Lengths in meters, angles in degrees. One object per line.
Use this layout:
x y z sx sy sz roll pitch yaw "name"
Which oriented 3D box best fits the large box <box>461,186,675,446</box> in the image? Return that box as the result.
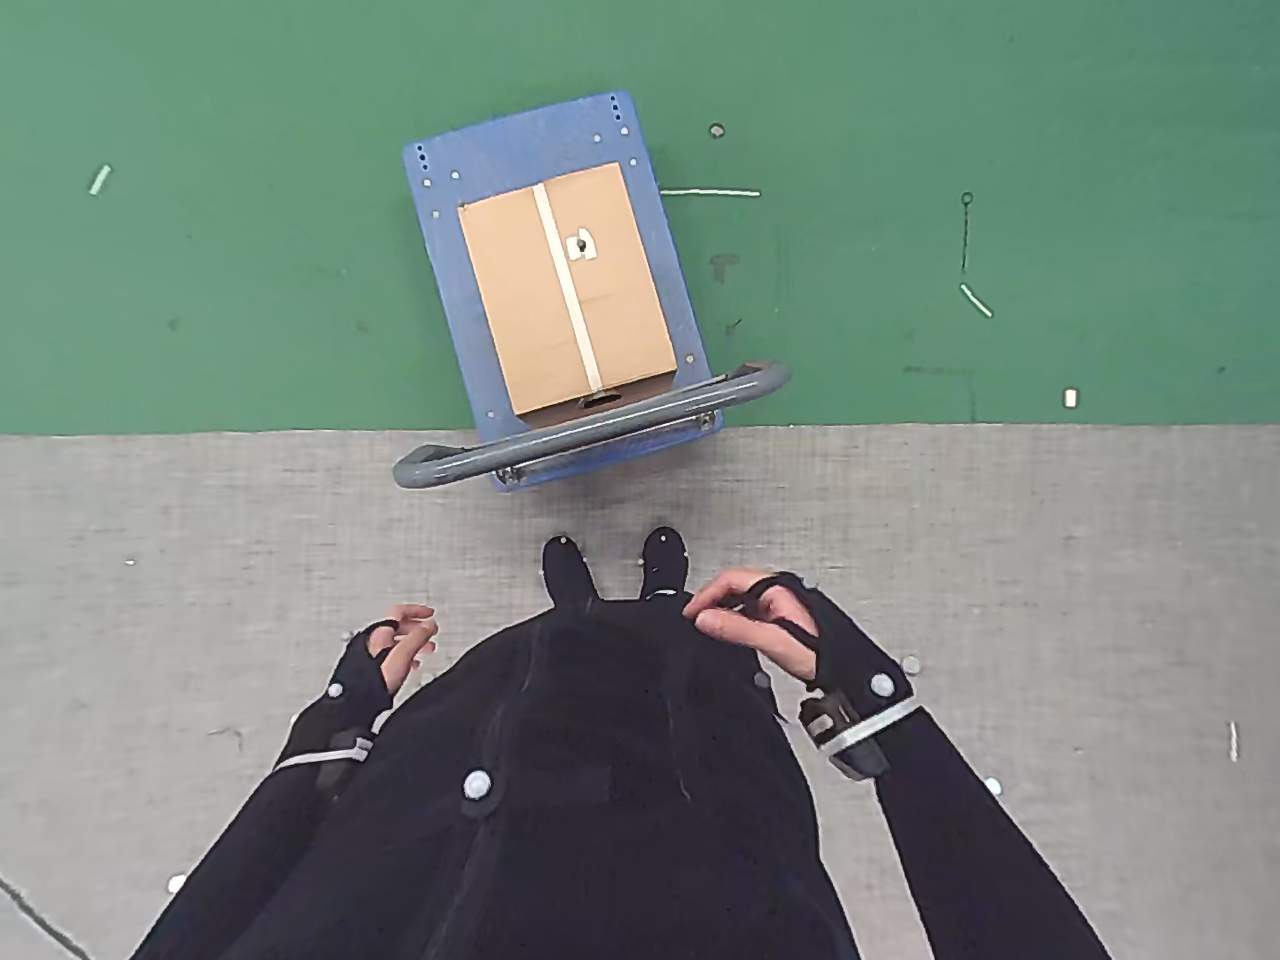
-0.134 -0.319 1.160 0.320 0.320 0.408 -16 87 -1 "large box"
